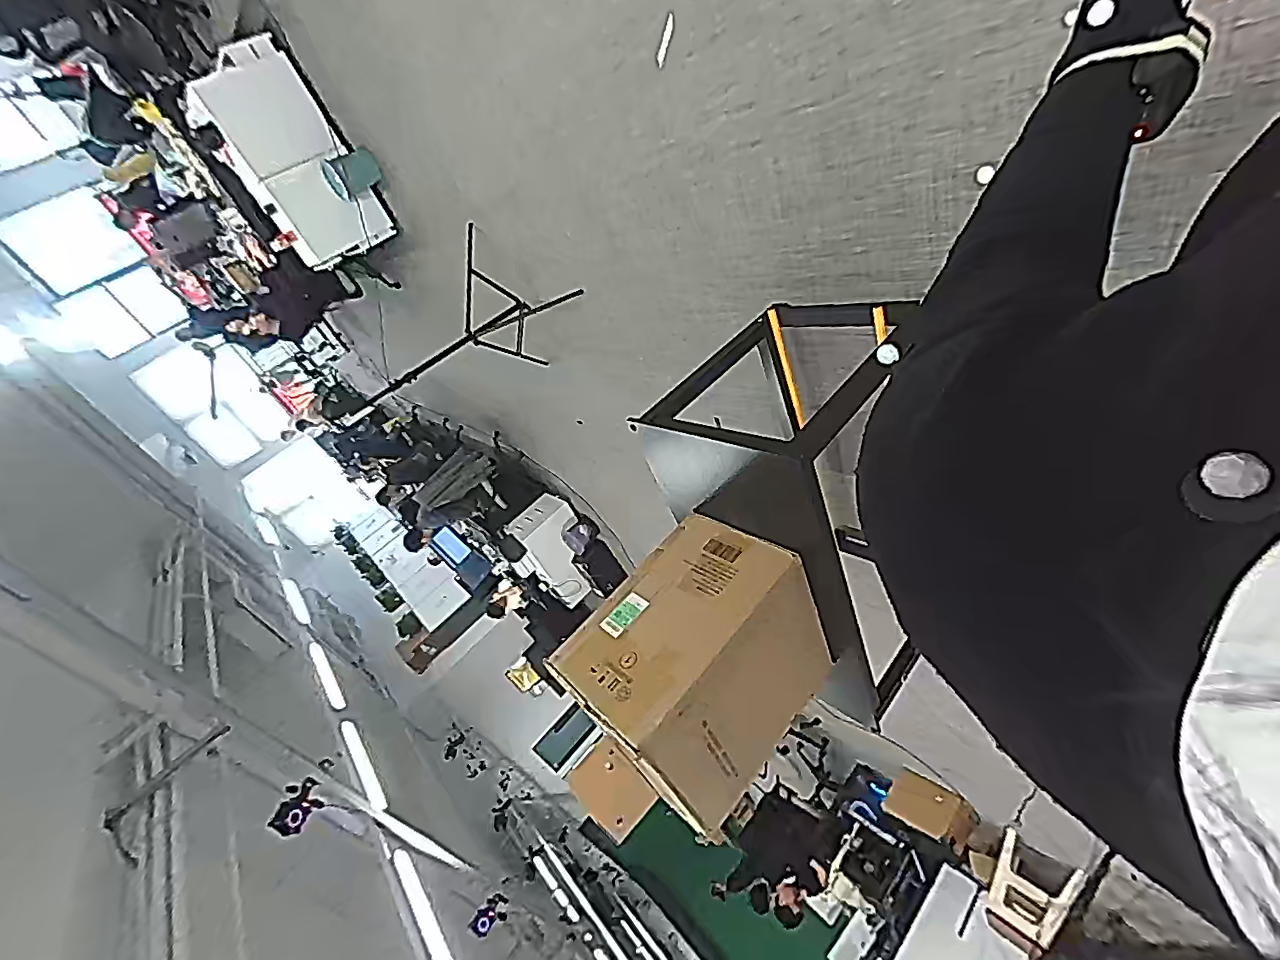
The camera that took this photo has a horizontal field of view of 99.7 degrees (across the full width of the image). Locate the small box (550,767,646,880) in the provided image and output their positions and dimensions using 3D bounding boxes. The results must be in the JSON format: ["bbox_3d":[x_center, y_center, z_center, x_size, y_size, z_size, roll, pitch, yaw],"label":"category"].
[{"bbox_3d":[-0.111,0.941,1.492,0.168,0.176,0.179,22,146,48],"label":"small box"}]
